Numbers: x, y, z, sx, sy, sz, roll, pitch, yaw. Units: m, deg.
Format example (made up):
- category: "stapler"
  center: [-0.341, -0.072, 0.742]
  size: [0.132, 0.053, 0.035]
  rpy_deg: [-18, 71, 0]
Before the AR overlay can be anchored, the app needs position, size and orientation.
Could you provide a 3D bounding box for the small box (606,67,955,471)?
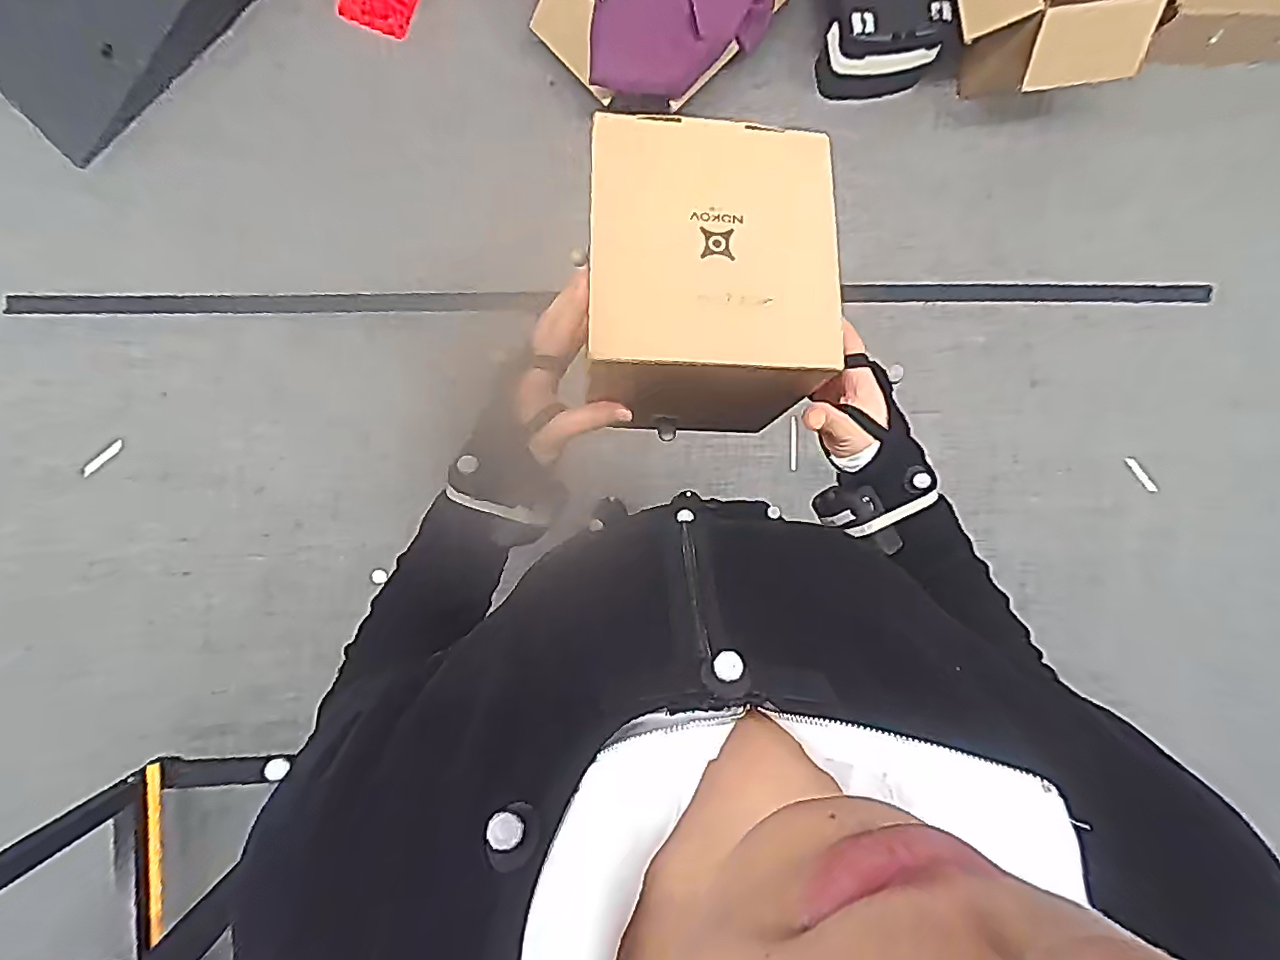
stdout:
- category: "small box"
  center: [0.065, -0.110, 0.349]
  size: [0.168, 0.176, 0.179]
  rpy_deg: [1, 80, -7]
